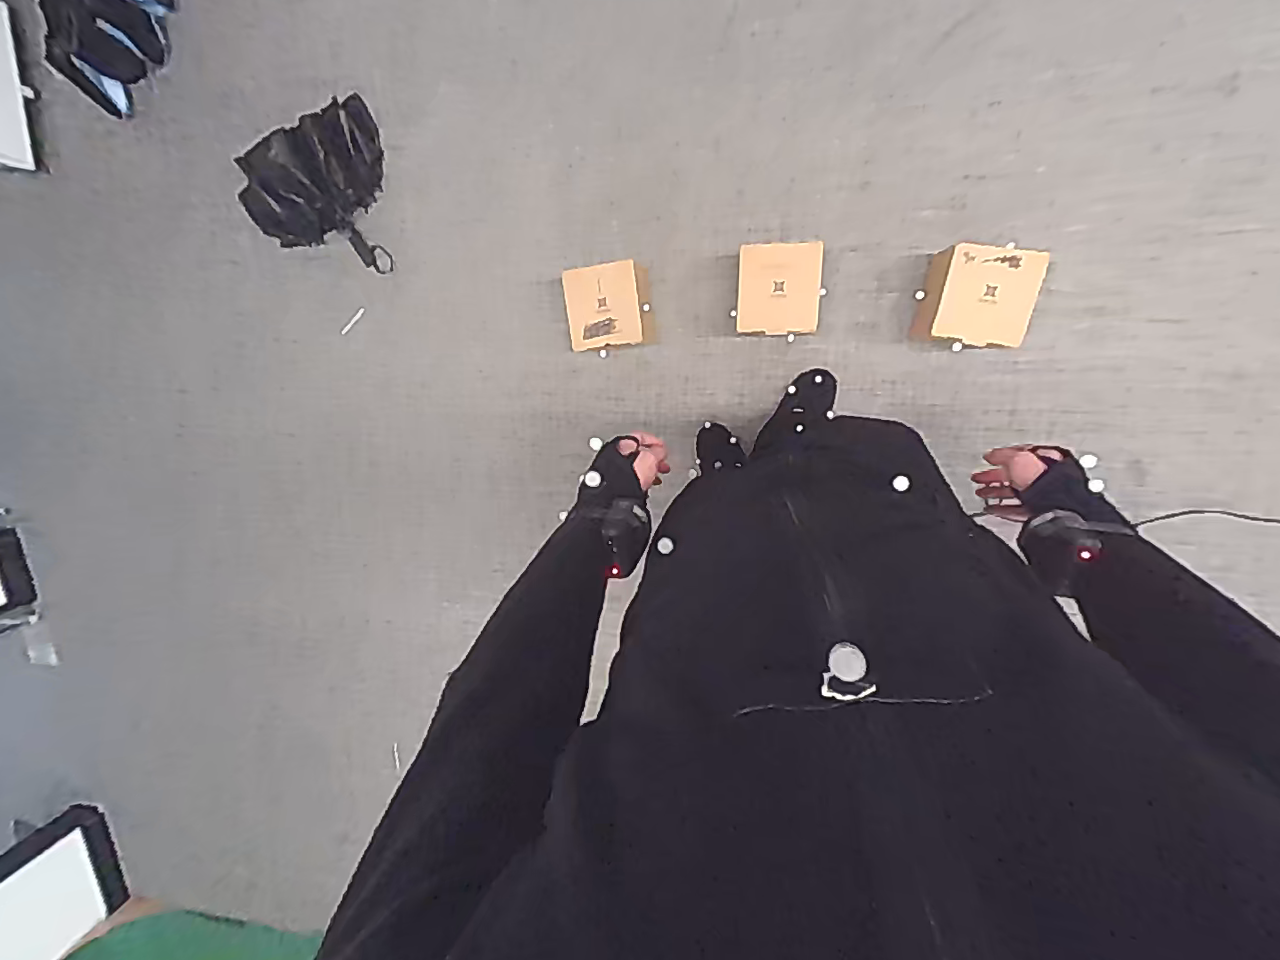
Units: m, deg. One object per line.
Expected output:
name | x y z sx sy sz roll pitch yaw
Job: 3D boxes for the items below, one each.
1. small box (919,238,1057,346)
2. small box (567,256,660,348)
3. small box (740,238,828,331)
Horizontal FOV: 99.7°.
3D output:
small box | 0.688 -0.375 1.097 0.168 0.176 0.179 12 107 10
small box | -0.054 -0.406 1.255 0.168 0.176 0.179 -5 102 13
small box | 0.307 -0.416 1.174 0.168 0.176 0.179 2 103 11
